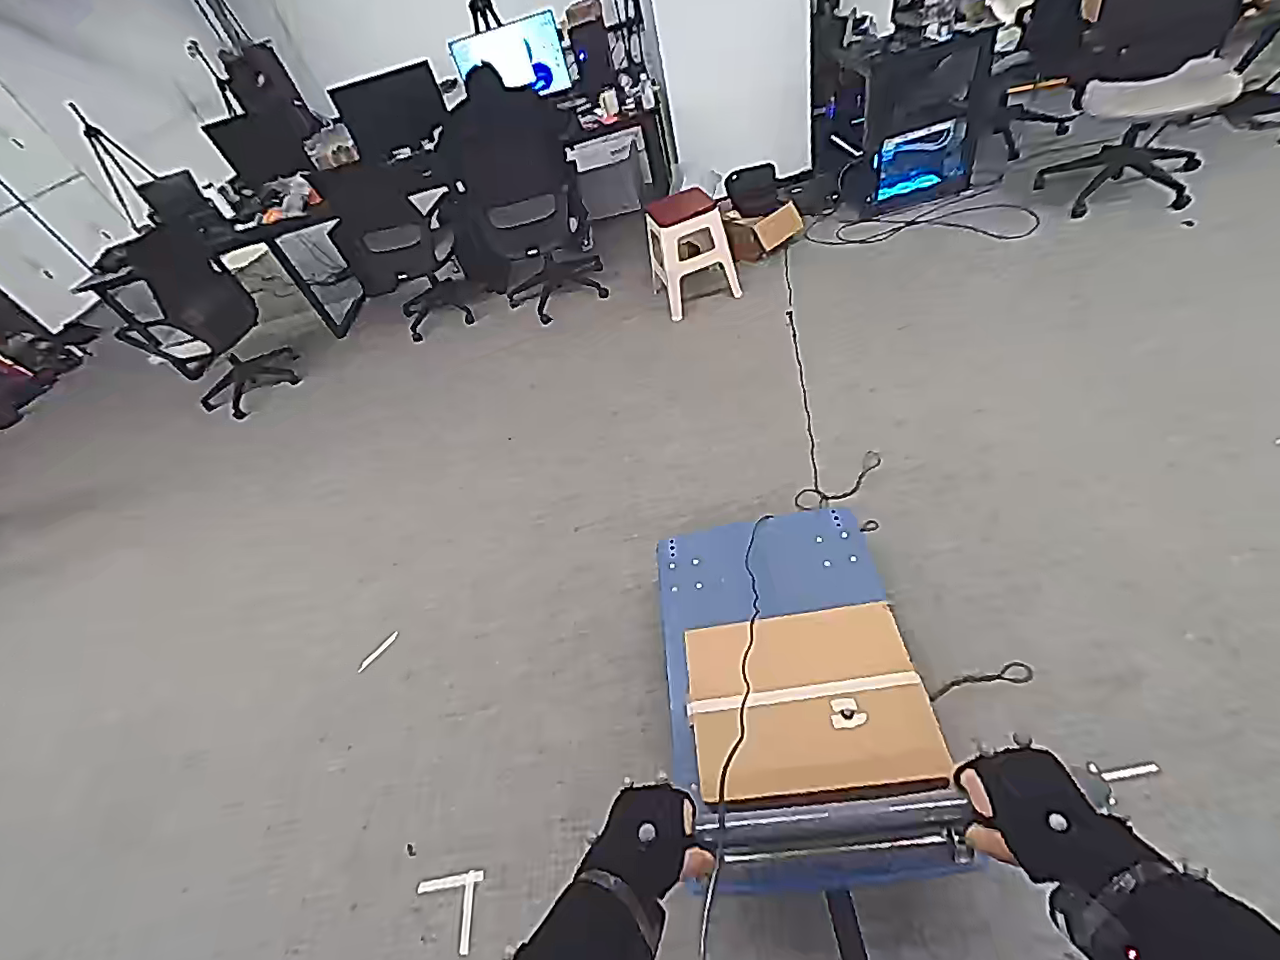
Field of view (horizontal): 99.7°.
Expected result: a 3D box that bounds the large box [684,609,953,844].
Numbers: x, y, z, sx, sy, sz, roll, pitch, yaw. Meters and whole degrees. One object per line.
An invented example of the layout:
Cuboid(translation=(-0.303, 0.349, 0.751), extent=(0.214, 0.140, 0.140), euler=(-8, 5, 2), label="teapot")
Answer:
Cuboid(translation=(0.320, 0.496, 1.072), extent=(0.408, 0.320, 0.320), euler=(-10, 47, 7), label="large box")
